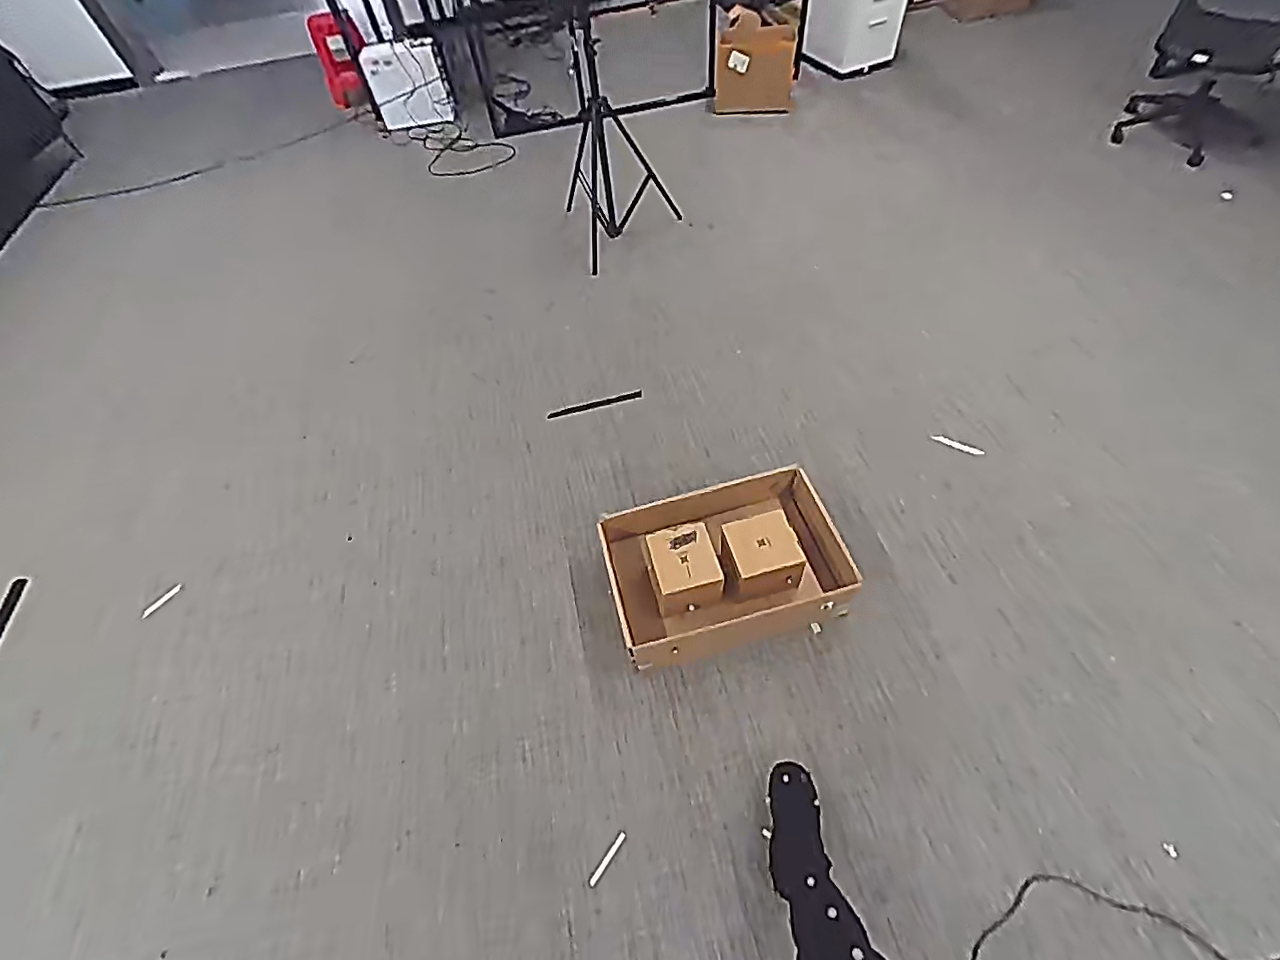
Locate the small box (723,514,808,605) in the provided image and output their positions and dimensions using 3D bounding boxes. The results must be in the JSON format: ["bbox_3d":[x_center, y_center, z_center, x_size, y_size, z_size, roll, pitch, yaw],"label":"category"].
[{"bbox_3d":[0.334,0.220,1.479,0.179,0.176,0.168,-15,54,-2],"label":"small box"}]
